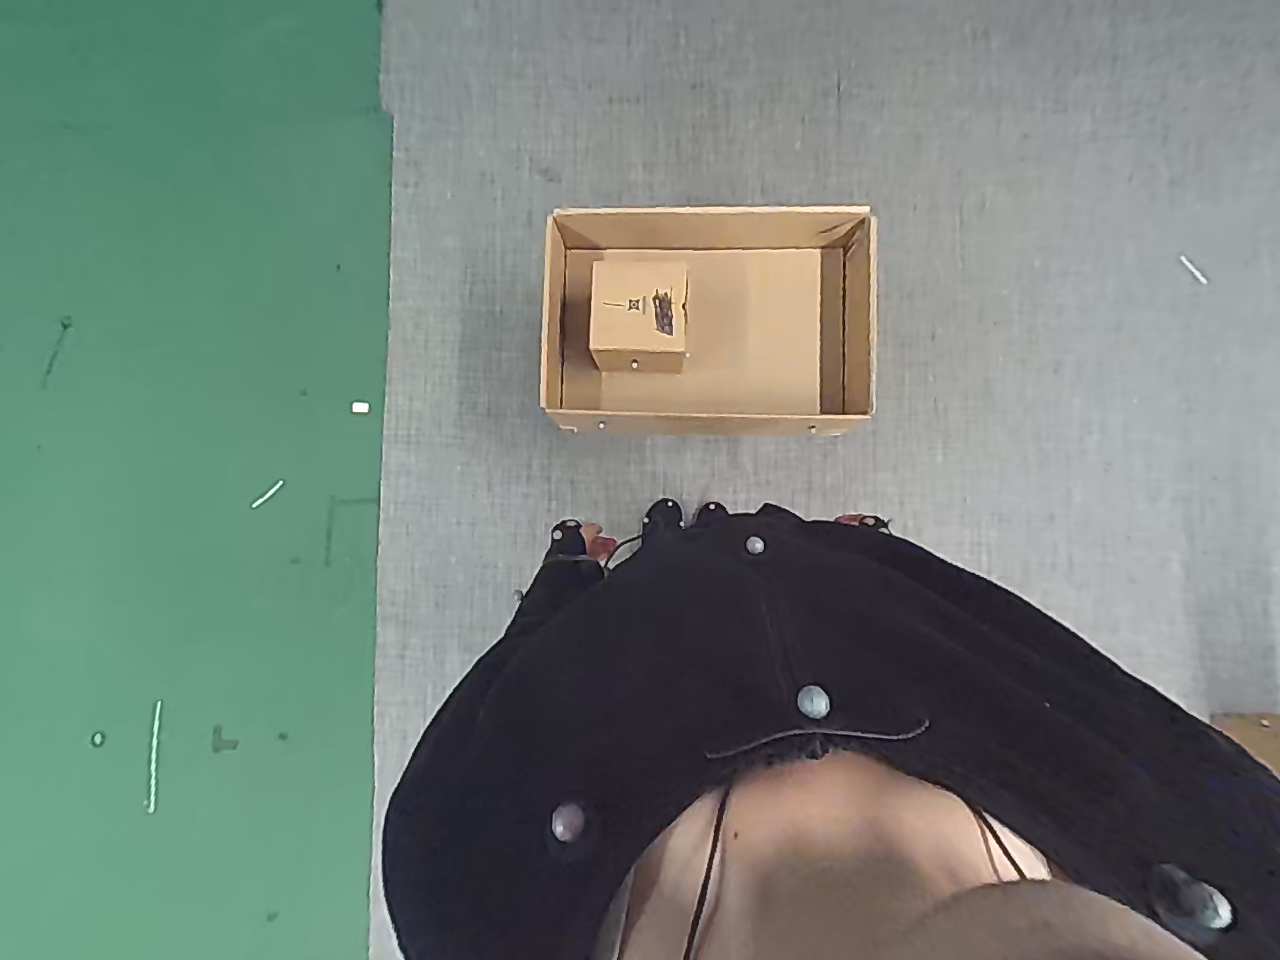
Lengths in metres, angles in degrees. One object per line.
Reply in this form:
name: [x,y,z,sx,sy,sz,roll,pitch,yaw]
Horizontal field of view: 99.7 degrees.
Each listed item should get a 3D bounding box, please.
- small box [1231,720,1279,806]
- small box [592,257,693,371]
small box: [1.604,0.699,1.312,0.168,0.176,0.179,-1,87,4]
small box: [0.009,-0.314,1.049,0.179,0.176,0.168,3,87,4]
